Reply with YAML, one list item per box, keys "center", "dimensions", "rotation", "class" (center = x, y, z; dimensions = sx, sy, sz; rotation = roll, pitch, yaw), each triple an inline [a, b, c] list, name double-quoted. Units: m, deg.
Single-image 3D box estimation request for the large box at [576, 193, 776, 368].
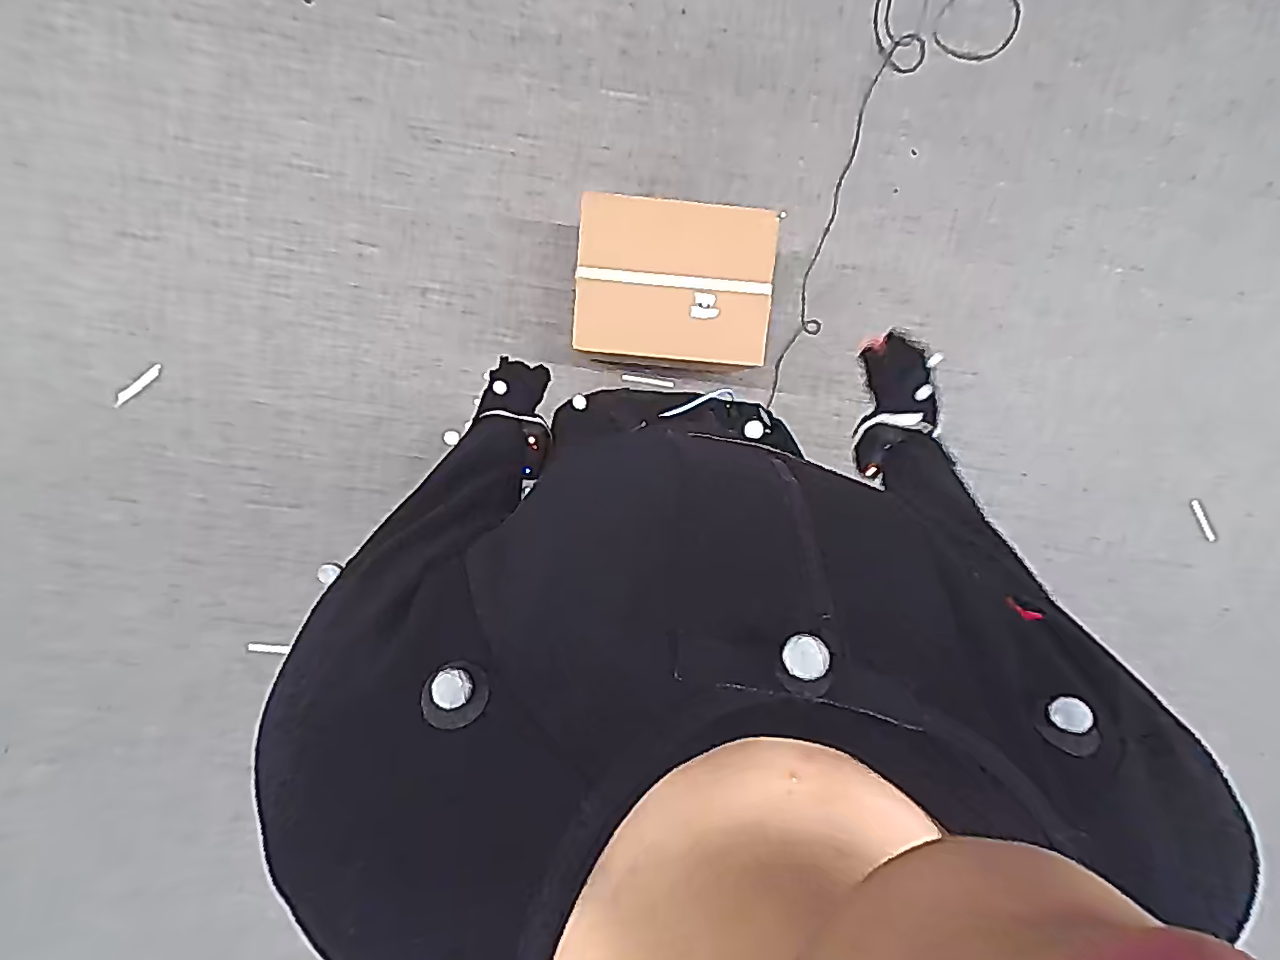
- center: [0.065, -0.439, 1.268]
  dimensions: [0.408, 0.320, 0.320]
  rotation: [5, 100, -3]
  class: "large box"
